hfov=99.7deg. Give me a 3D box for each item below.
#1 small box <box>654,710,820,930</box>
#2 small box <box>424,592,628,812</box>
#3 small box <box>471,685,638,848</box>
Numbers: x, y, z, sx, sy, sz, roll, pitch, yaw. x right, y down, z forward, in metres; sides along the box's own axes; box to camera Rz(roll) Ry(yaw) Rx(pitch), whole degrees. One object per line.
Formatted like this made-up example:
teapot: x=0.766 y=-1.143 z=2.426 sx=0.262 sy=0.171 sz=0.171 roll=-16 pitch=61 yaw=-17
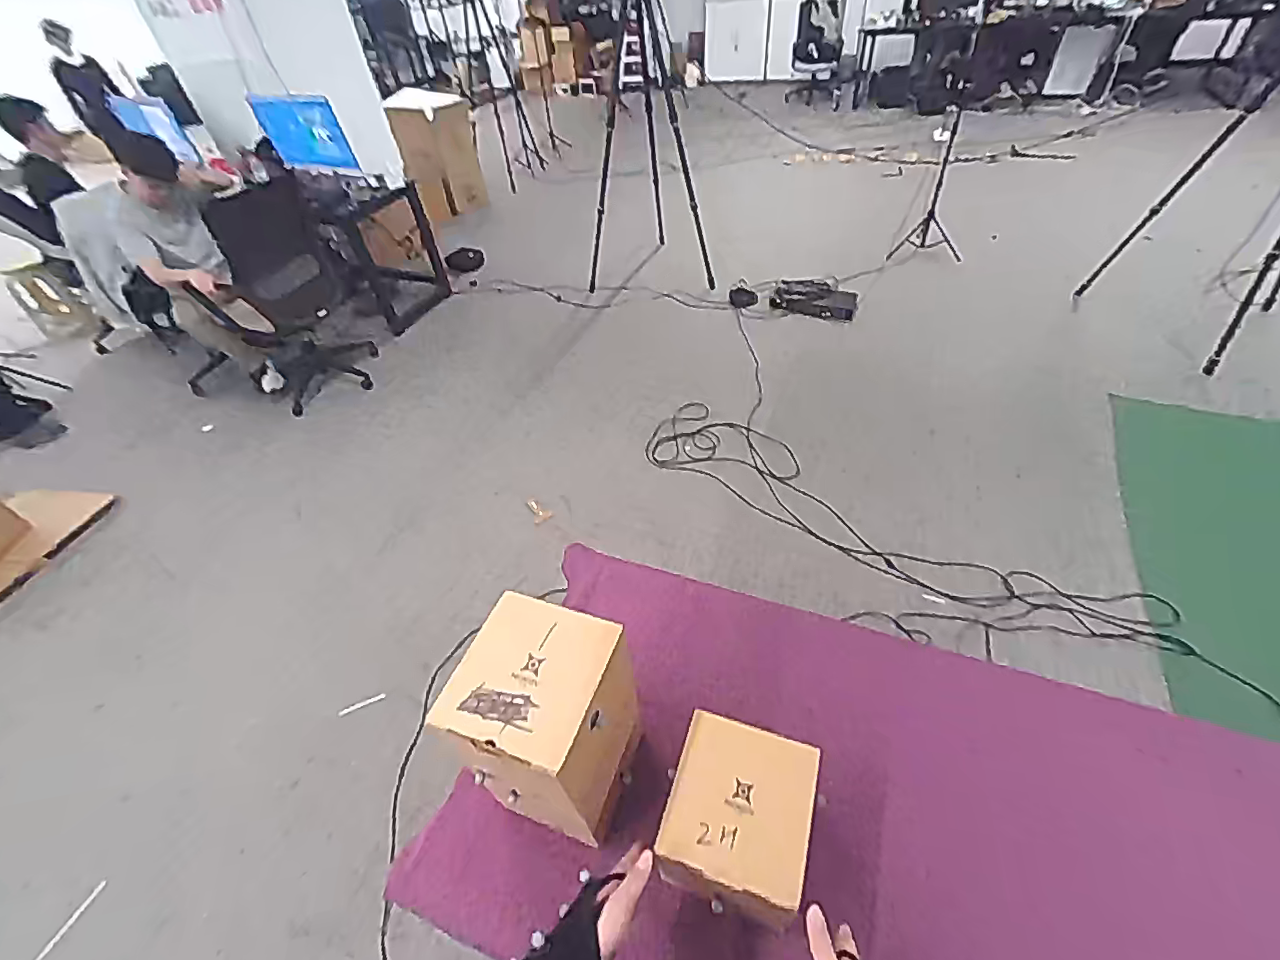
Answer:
small box: x=0.126 y=0.438 z=0.701 sx=0.168 sy=0.176 sz=0.179 roll=11 pitch=48 yaw=19
small box: x=-0.121 y=0.273 z=0.665 sx=0.168 sy=0.176 sz=0.179 roll=12 pitch=47 yaw=18
small box: x=-0.109 y=0.389 z=0.781 sx=0.168 sy=0.176 sz=0.179 roll=11 pitch=47 yaw=19
